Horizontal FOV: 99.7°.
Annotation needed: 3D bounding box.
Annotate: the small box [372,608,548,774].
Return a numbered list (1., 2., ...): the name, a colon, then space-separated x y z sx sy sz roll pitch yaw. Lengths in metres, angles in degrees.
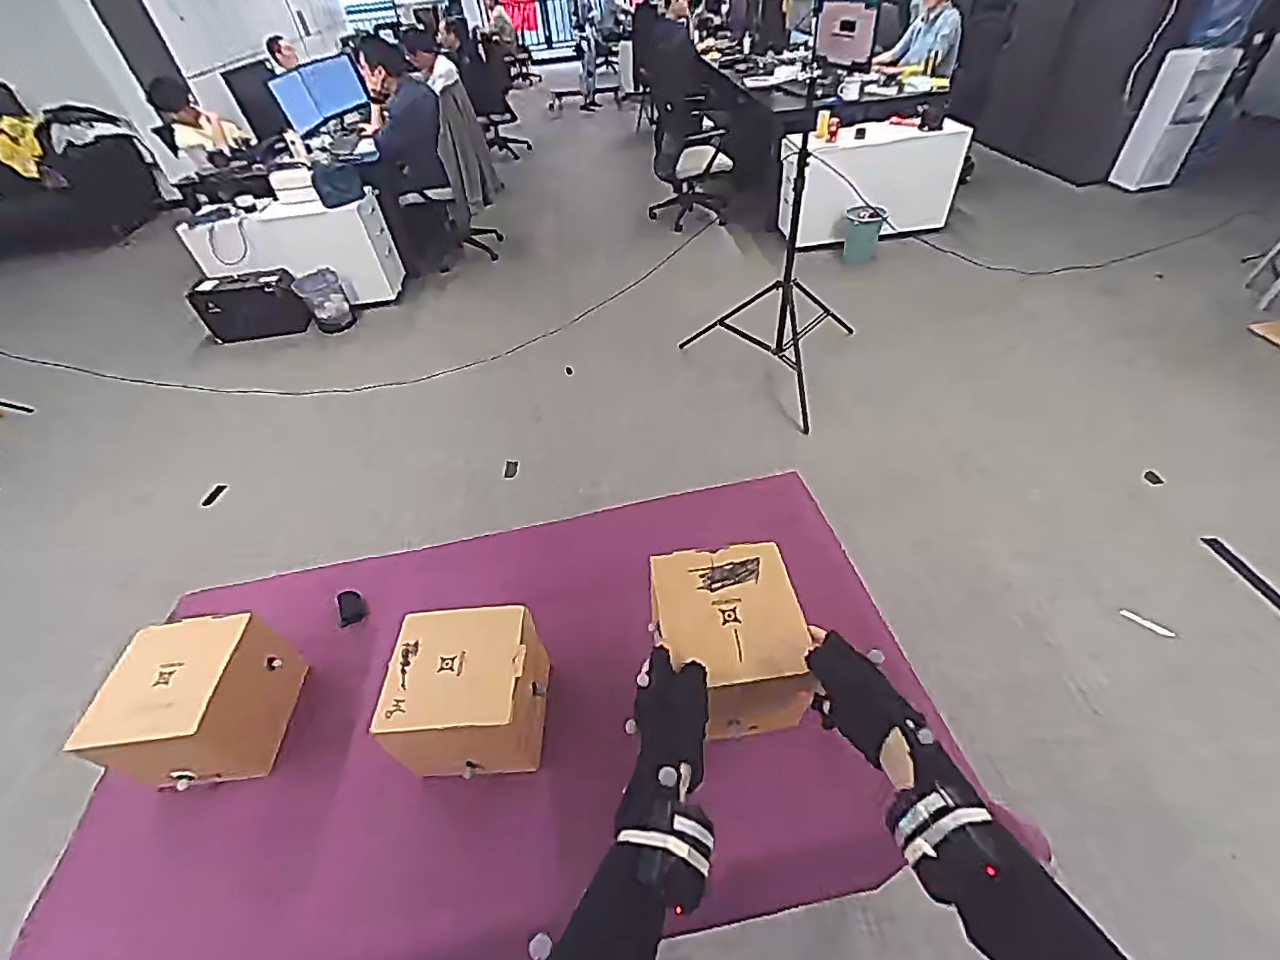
1. small box: -0.233 0.297 0.759 0.179 0.176 0.168 -4 44 2

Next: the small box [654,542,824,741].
1. small box: 0.107 0.203 0.680 0.168 0.176 0.179 -7 47 -3

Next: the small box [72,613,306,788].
1. small box: -0.623 0.319 0.782 0.168 0.176 0.179 -8 45 0
